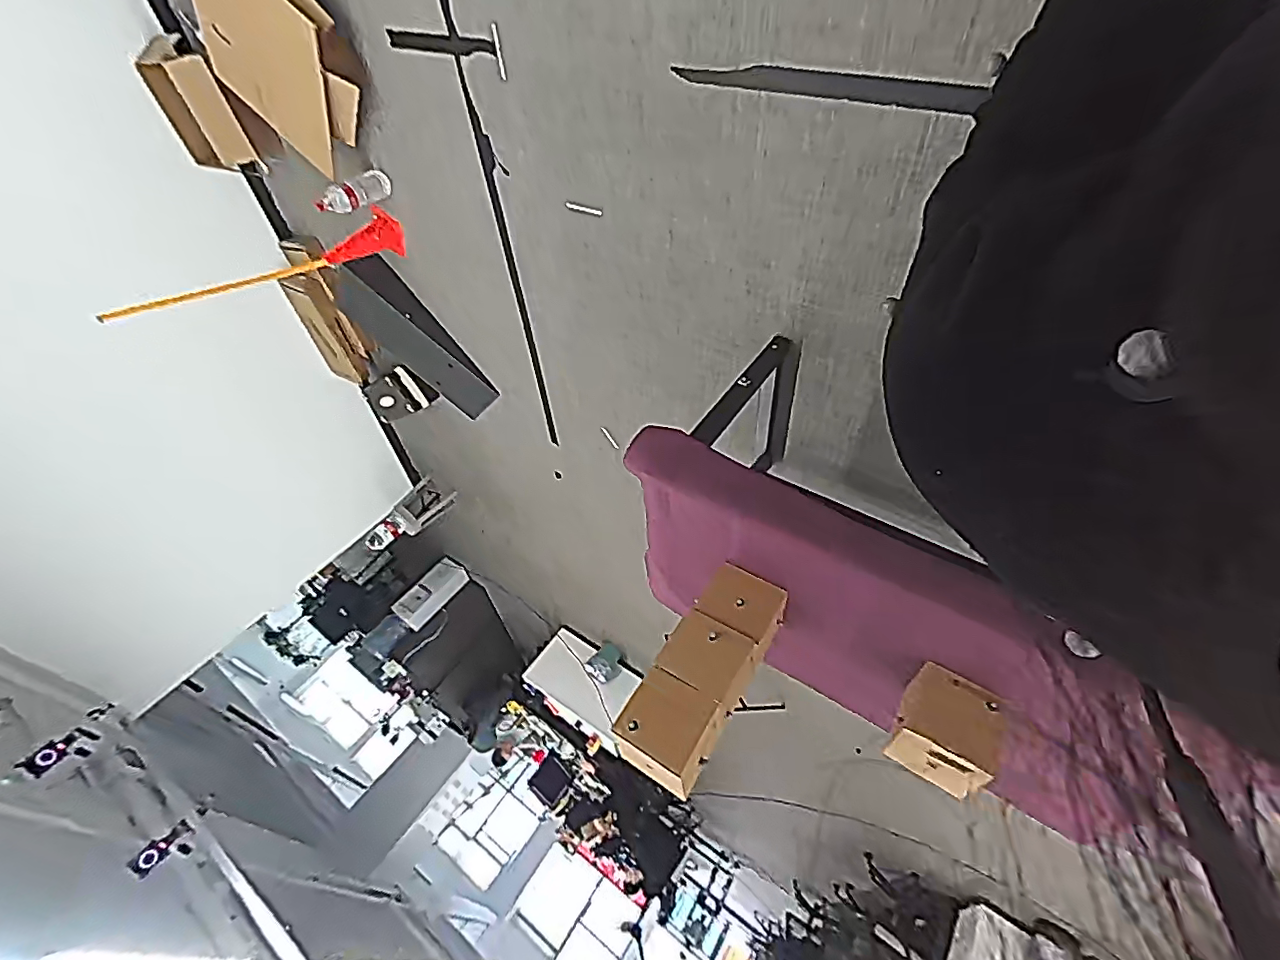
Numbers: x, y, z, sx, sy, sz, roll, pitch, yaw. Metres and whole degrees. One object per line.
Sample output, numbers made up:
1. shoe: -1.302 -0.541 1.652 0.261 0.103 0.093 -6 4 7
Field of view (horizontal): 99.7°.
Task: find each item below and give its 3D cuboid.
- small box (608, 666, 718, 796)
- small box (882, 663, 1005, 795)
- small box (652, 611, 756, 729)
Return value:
1. small box: 0.059 0.540 1.176 0.179 0.176 0.168 22 143 28
2. small box: 0.642 0.521 1.145 0.168 0.176 0.179 26 145 25
3. small box: 0.150 0.431 1.257 0.179 0.176 0.168 23 144 28
